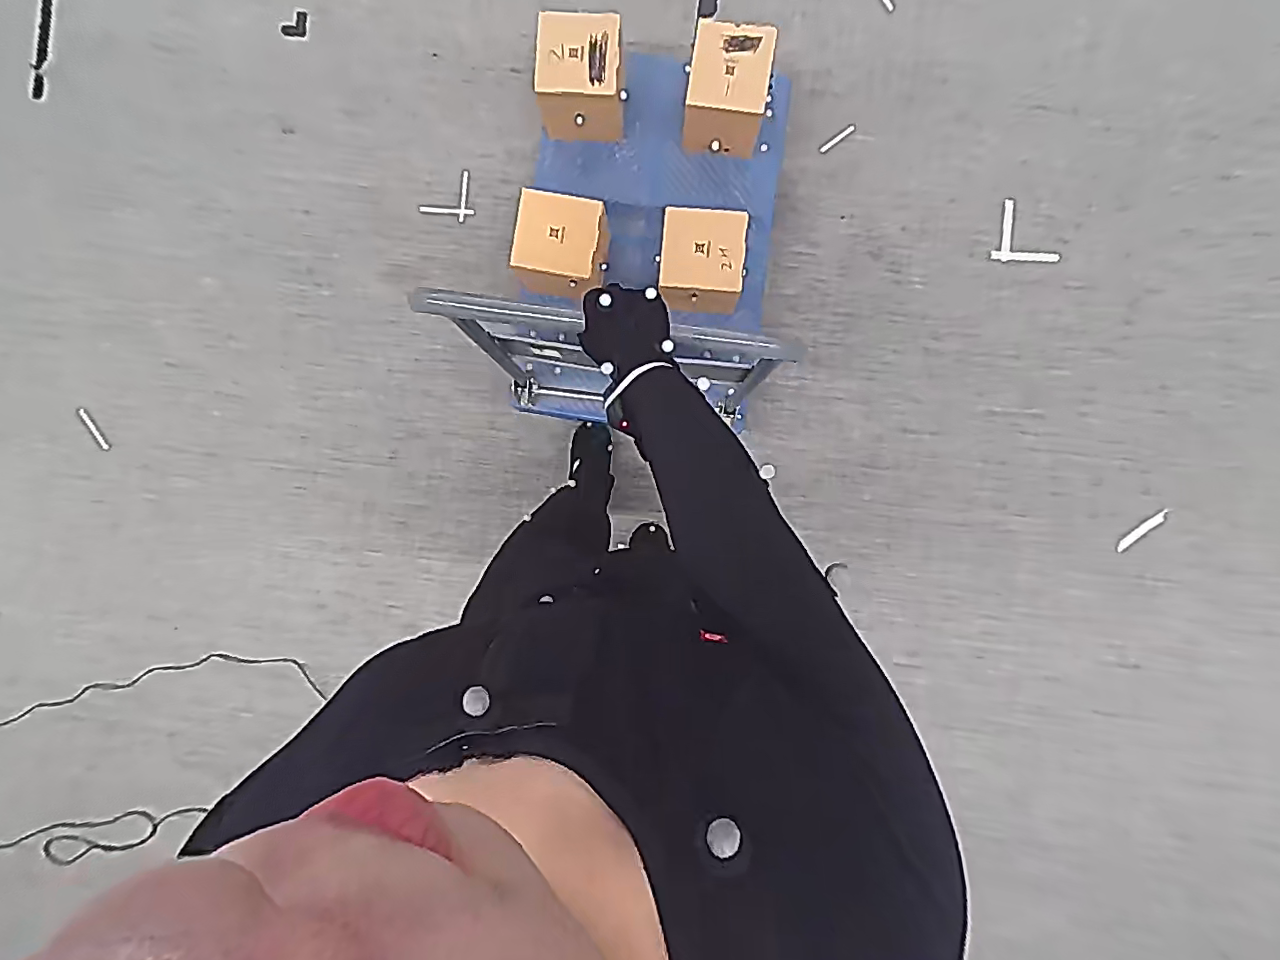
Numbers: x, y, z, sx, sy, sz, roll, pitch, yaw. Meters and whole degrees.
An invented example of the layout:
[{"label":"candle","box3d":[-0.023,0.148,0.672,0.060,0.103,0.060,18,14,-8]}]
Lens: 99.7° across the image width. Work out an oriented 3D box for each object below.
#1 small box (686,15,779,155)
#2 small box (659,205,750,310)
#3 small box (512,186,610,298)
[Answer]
[{"label":"small box","box3d":[0.194,-0.854,1.184,0.168,0.176,0.179,9,93,2]},{"label":"small box","box3d":[0.137,-0.485,1.198,0.179,0.176,0.168,6,92,2]},{"label":"small box","box3d":[-0.170,-0.522,1.209,0.179,0.176,0.168,10,91,0]}]
